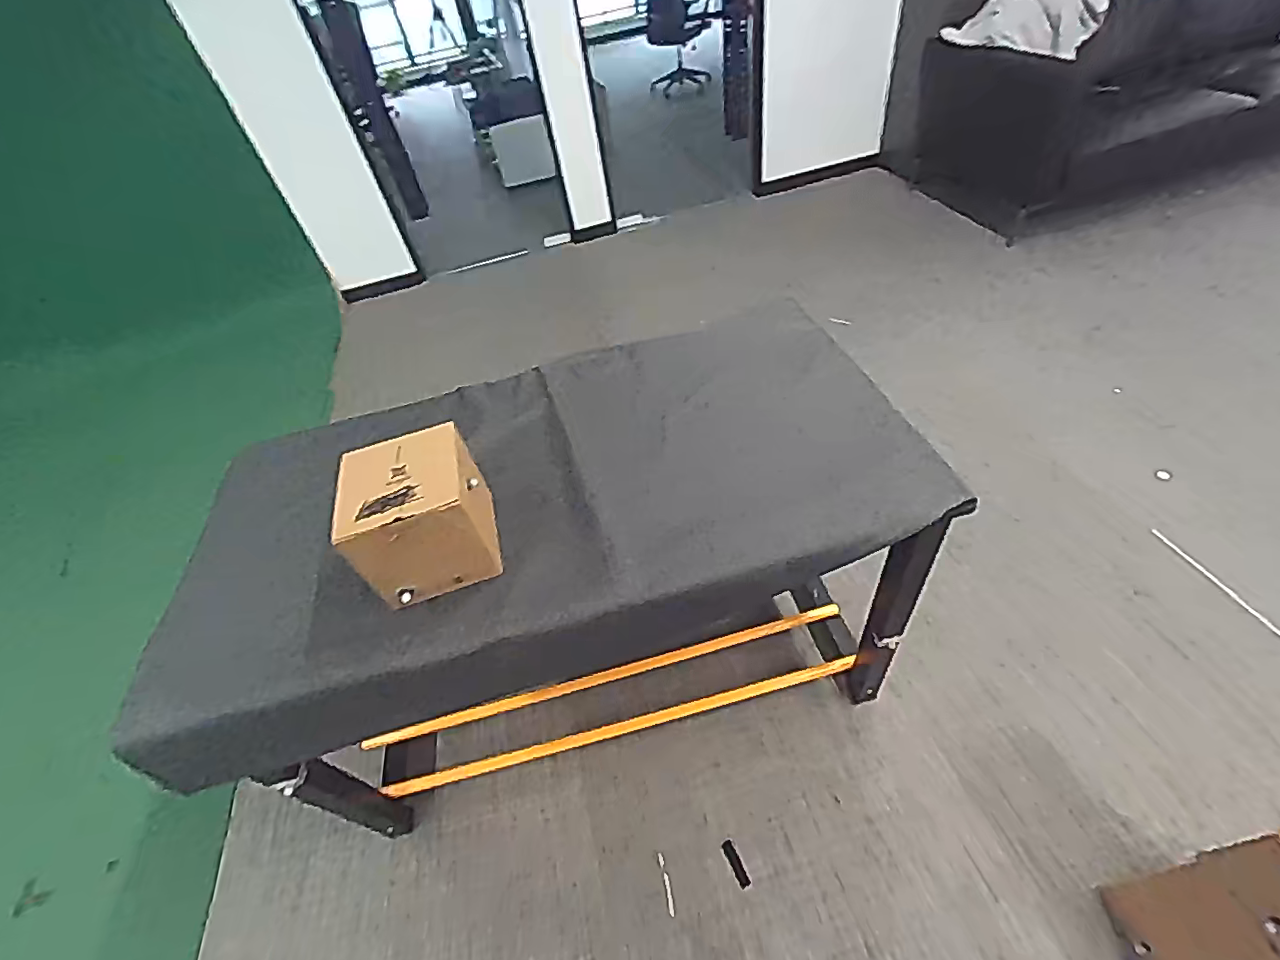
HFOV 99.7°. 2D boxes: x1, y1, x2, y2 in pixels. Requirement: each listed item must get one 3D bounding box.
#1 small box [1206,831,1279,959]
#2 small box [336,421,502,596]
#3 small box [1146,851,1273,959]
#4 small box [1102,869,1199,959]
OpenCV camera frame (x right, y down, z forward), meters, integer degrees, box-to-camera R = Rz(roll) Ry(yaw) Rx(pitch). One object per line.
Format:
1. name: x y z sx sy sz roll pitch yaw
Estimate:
1. small box: 0.882 0.521 0.661 0.179 0.176 0.168 -14 46 -2
2. small box: -0.313 0.049 0.794 0.168 0.176 0.179 -18 45 -6
3. small box: 0.907 0.637 0.775 0.168 0.176 0.179 -15 45 -4
4. small box: 0.935 0.748 0.891 0.168 0.176 0.179 -13 47 -2
